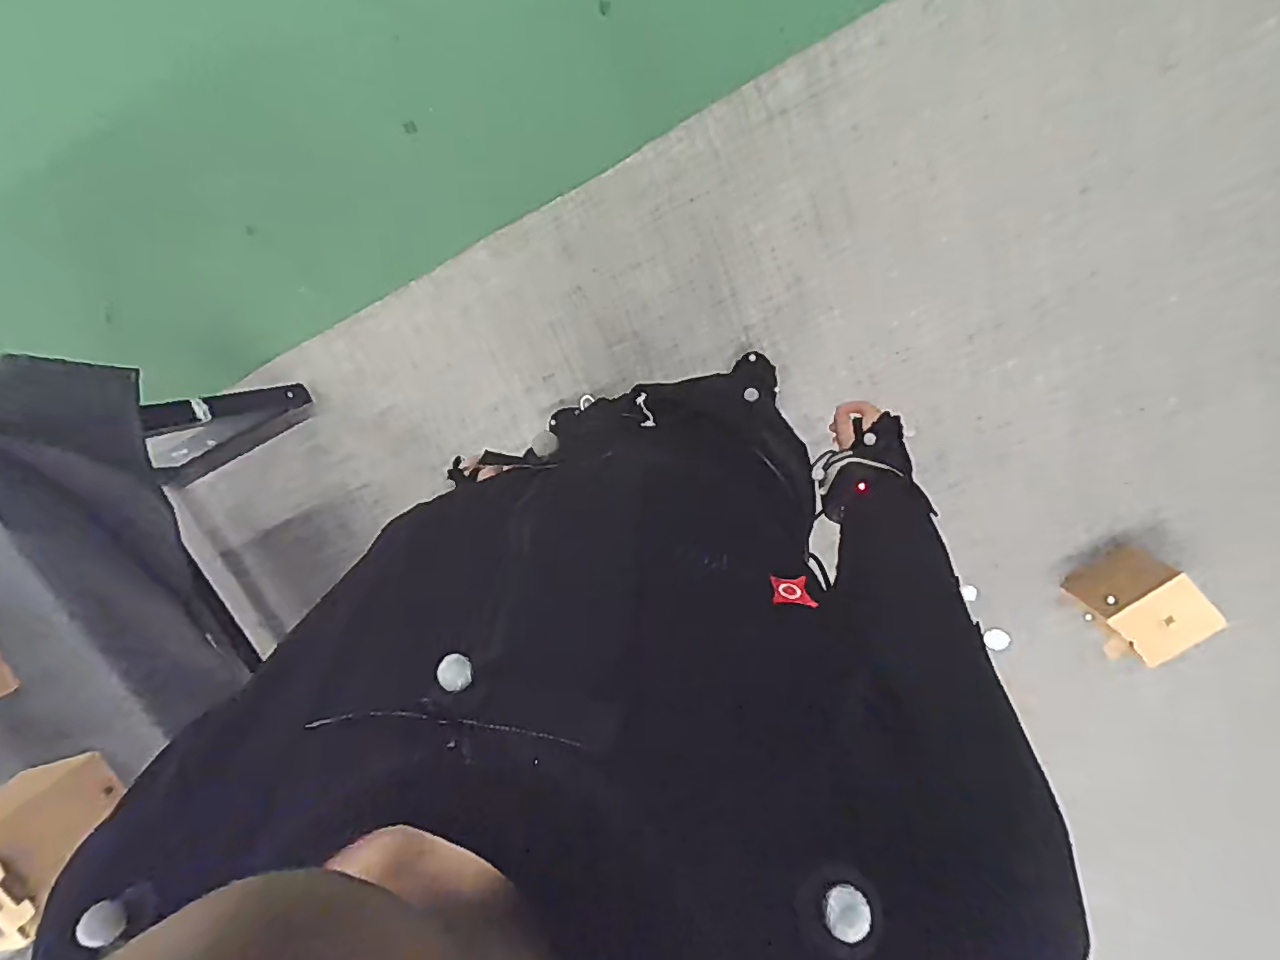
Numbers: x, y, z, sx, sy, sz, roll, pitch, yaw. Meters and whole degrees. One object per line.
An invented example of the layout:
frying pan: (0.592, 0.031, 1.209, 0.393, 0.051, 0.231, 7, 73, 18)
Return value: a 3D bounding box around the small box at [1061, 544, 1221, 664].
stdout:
small box: (1.144, 0.278, 1.251, 0.168, 0.176, 0.179, 44, 107, -7)
